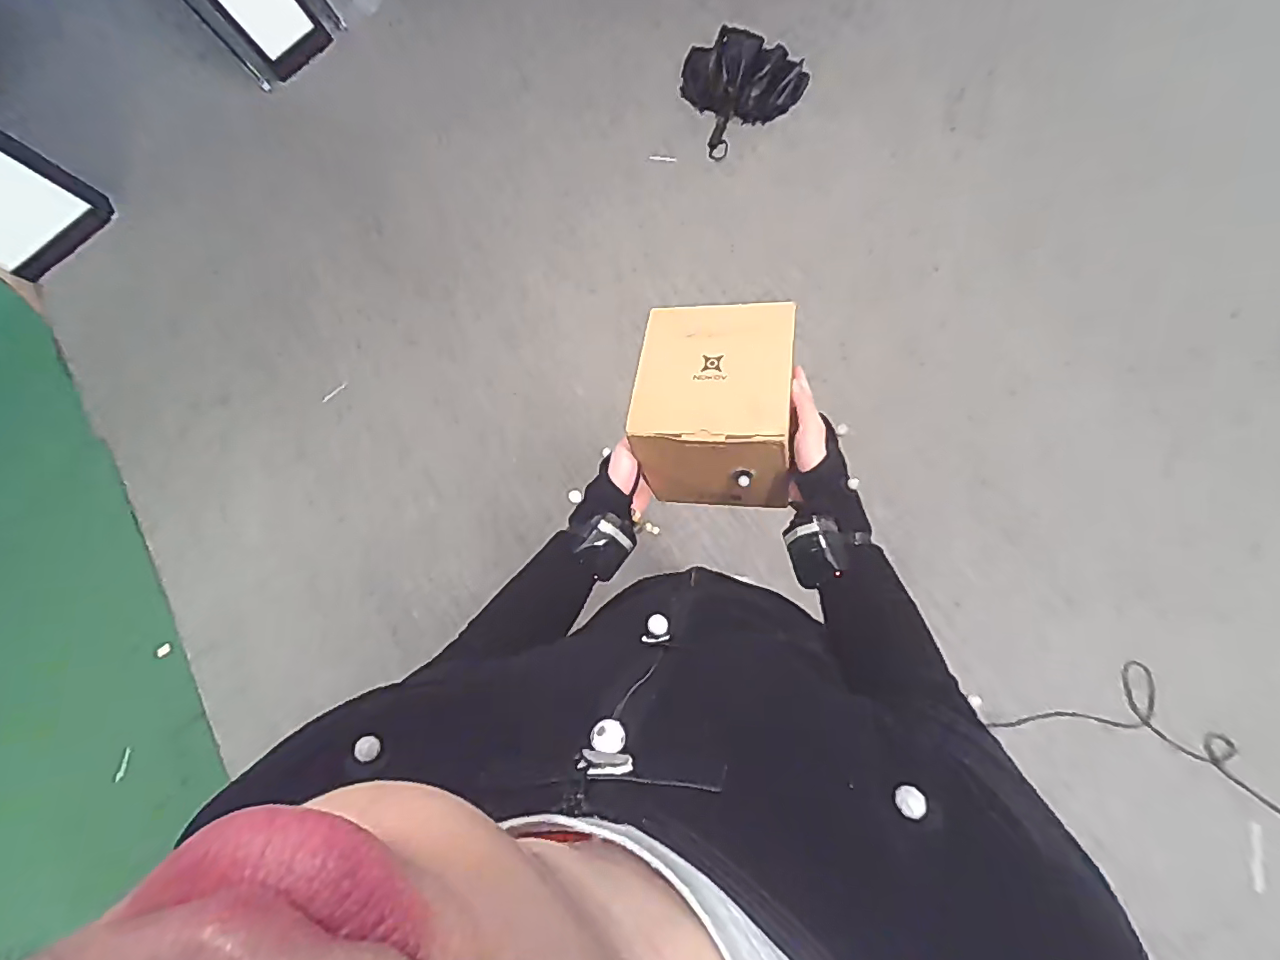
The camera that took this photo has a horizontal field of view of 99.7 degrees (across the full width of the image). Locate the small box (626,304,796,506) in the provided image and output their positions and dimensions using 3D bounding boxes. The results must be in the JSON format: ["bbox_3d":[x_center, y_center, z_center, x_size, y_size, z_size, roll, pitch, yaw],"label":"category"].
[{"bbox_3d":[0.095,-0.082,0.642,0.168,0.176,0.179,3,62,16],"label":"small box"}]
